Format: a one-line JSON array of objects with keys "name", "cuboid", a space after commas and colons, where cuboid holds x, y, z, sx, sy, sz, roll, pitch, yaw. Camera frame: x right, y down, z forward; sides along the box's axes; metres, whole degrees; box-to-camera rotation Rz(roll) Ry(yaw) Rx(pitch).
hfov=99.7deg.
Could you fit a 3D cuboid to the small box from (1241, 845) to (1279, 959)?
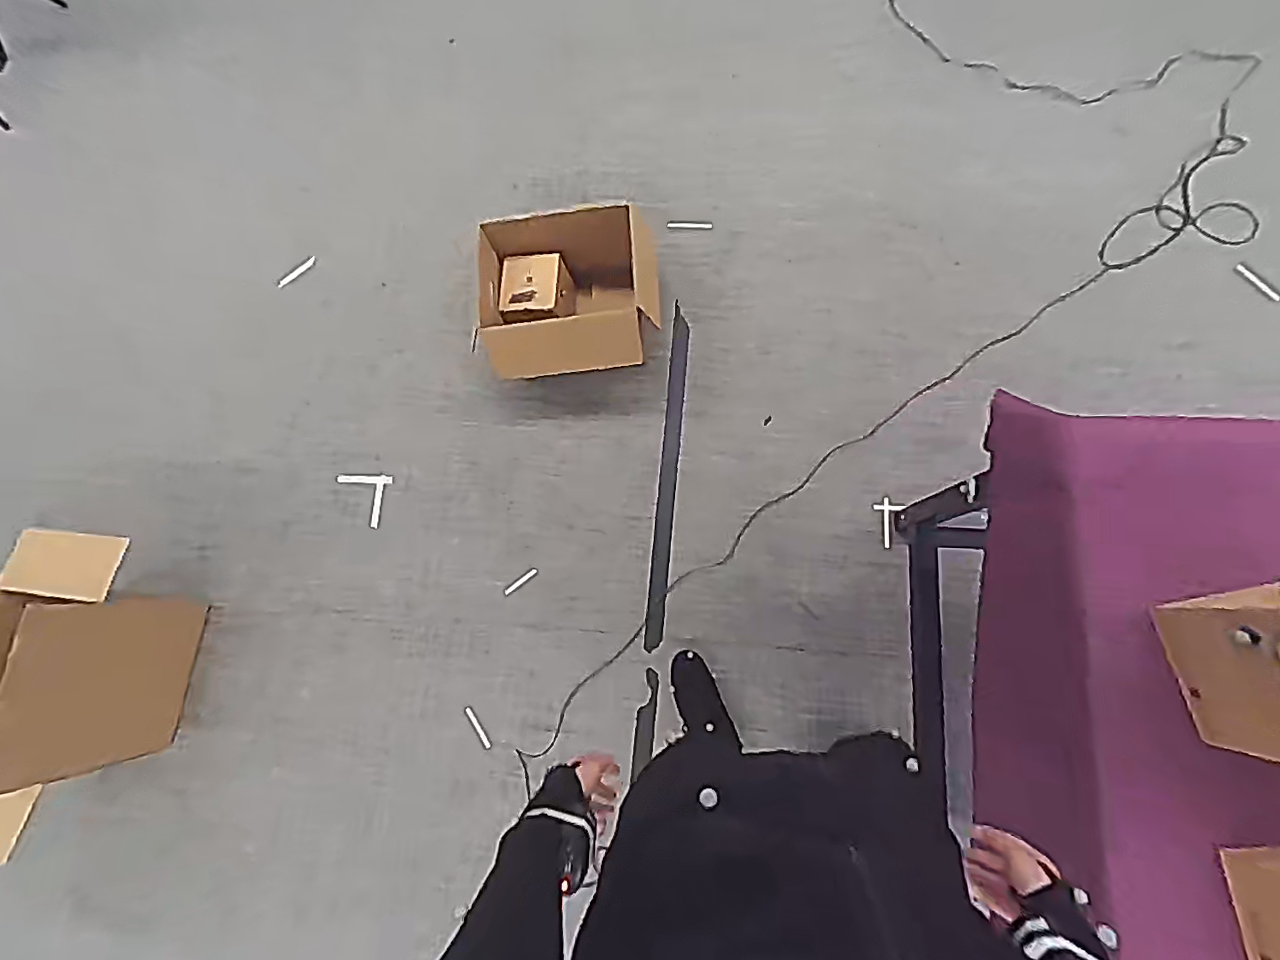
[{"name": "small box", "cuboid": [0.772, 0.486, 0.536, 0.179, 0.176, 0.168, -5, 78, 4]}]
